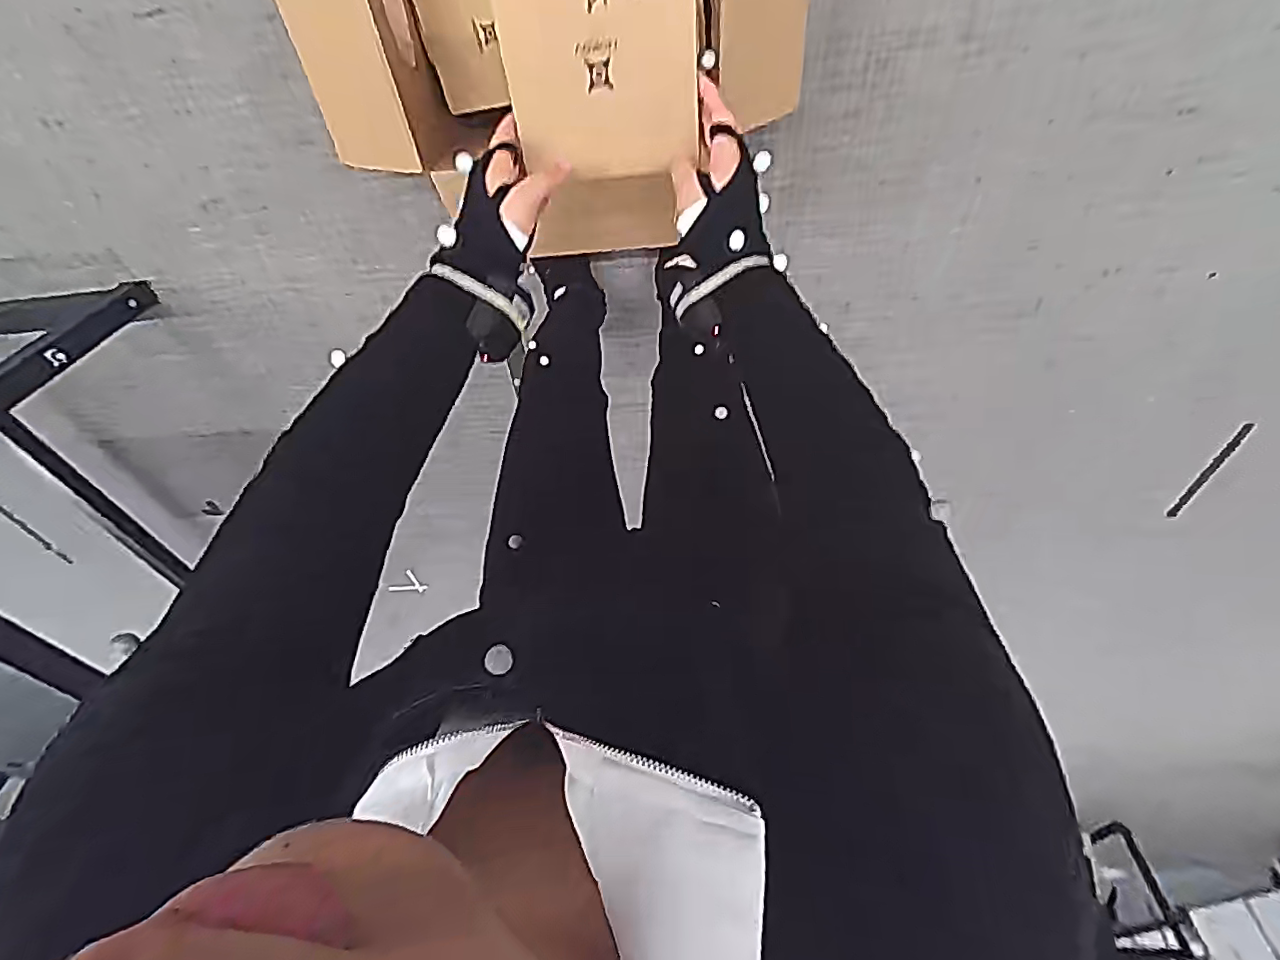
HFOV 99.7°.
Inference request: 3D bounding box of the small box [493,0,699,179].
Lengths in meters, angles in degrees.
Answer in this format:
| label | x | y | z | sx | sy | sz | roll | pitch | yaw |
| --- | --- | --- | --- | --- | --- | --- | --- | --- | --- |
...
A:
| label | x | y | z | sx | sy | sz | roll | pitch | yaw |
| --- | --- | --- | --- | --- | --- | --- | --- | --- | --- |
| small box | -0.027 | -0.410 | 0.518 | 0.168 | 0.176 | 0.179 | -1 | 131 | 7 |
